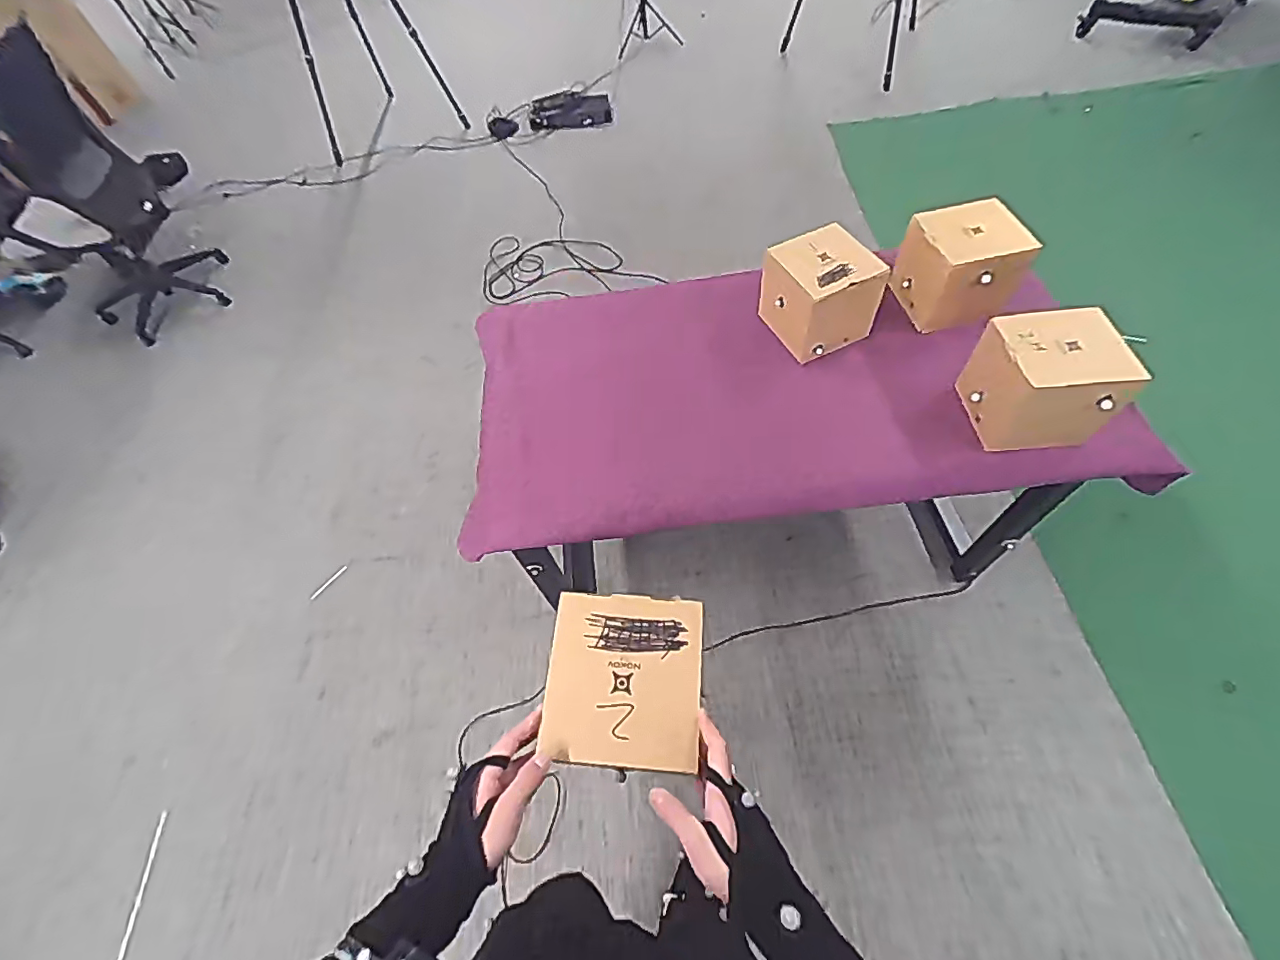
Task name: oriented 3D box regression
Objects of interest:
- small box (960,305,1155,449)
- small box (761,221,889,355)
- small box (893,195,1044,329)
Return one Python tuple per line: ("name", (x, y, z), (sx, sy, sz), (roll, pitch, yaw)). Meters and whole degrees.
("small box", (0.684, -0.168, 0.914), (0.179, 0.176, 0.168), (-5, 56, 5))
("small box", (0.360, -0.377, 1.088), (0.168, 0.176, 0.179), (-24, 58, -8))
("small box", (0.644, -0.432, 1.087), (0.179, 0.176, 0.168), (-13, 58, 1))
